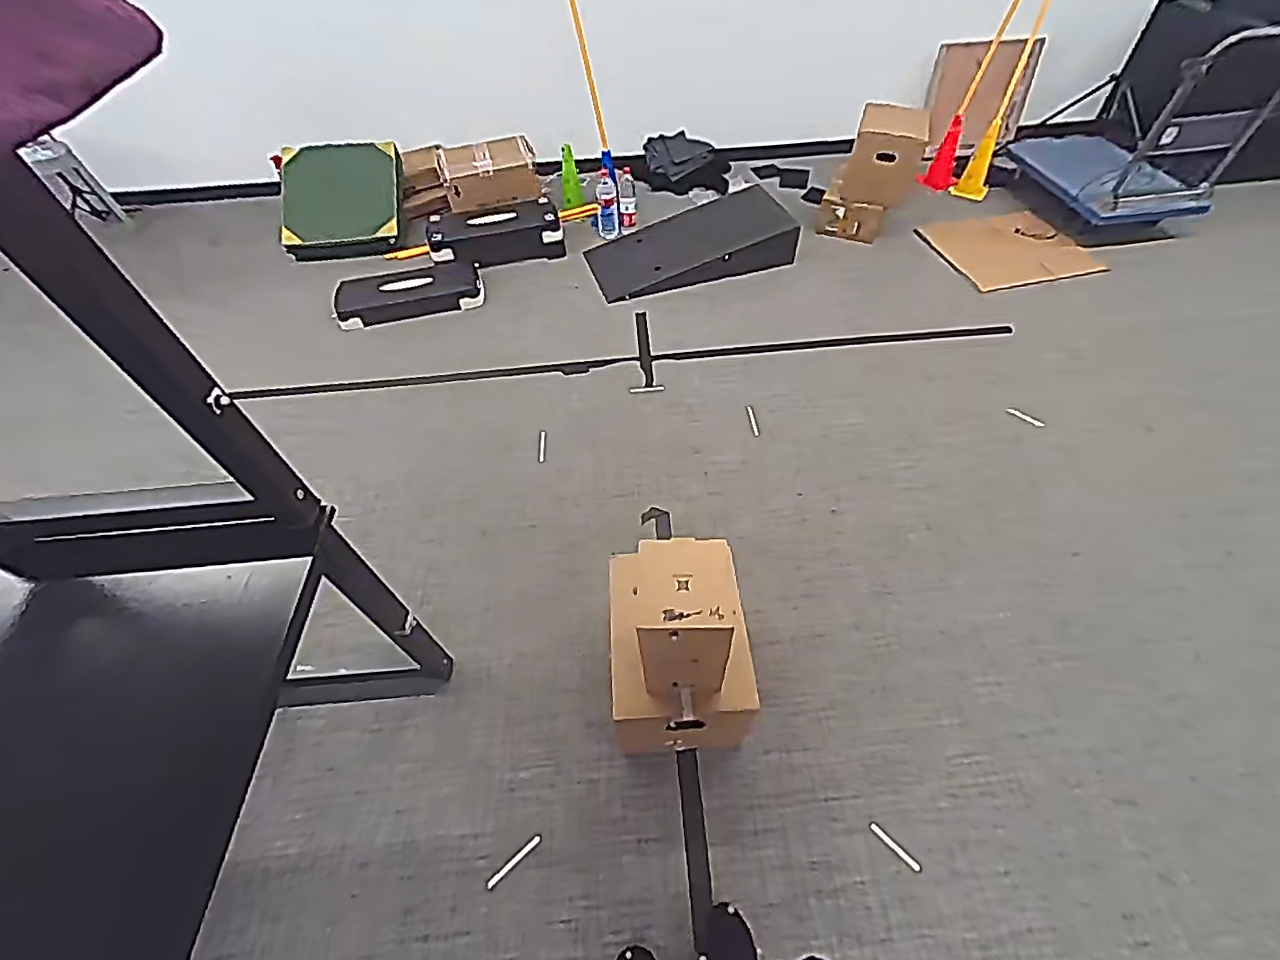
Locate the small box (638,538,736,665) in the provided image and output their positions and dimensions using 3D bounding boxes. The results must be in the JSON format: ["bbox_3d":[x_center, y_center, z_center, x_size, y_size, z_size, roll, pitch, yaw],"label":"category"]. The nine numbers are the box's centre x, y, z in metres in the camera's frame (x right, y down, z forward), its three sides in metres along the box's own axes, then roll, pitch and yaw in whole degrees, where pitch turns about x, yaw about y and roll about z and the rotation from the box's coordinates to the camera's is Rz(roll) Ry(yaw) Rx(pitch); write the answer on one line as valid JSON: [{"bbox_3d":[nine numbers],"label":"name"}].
[{"bbox_3d":[0.084,0.225,1.002,0.168,0.176,0.179,-1,50,4],"label":"small box"}]

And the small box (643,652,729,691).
[{"bbox_3d":[0.091,0.325,1.132,0.168,0.176,0.179,-2,52,3],"label":"small box"}]

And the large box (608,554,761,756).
[{"bbox_3d":[0.093,0.431,1.361,0.320,0.320,0.408,-4,50,-1],"label":"large box"}]
